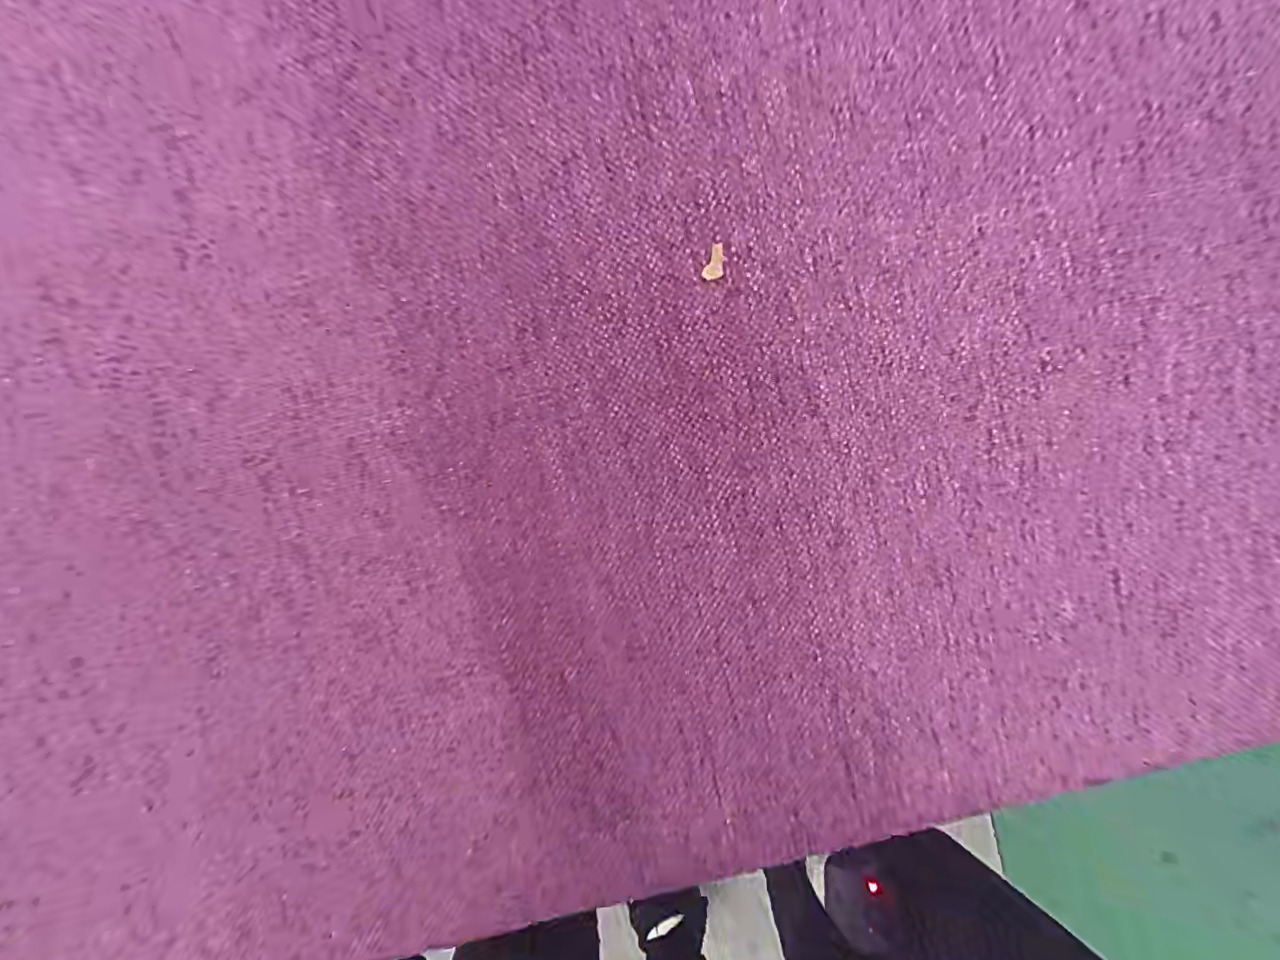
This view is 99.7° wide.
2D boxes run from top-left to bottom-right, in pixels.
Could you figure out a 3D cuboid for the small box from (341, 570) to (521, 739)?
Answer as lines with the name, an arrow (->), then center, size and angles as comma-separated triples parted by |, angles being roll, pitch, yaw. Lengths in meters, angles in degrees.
small box -> -0.304, 0.255, 0.825 | 0.179, 0.176, 0.168 | -17, 98, 5
